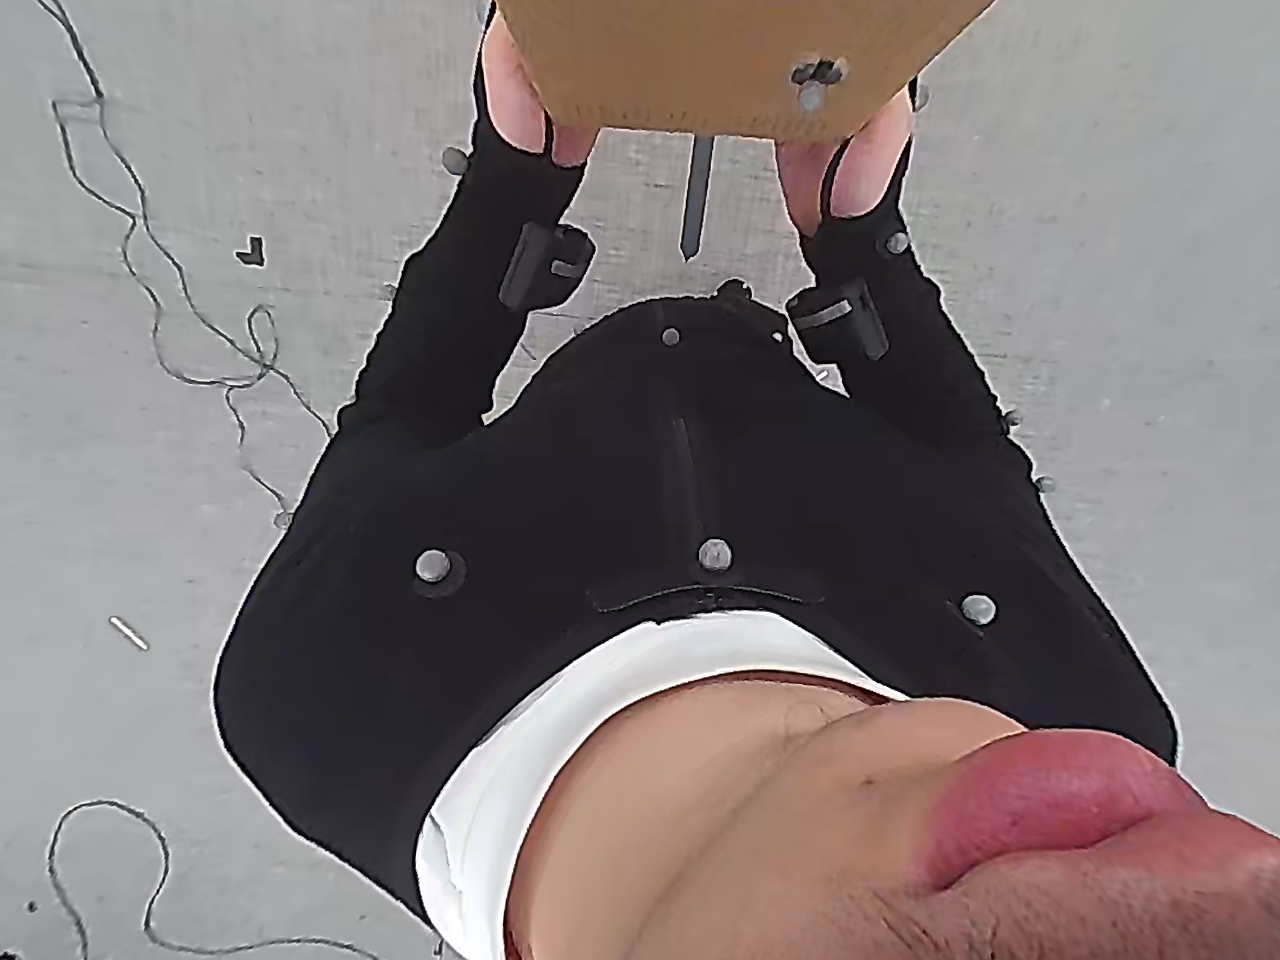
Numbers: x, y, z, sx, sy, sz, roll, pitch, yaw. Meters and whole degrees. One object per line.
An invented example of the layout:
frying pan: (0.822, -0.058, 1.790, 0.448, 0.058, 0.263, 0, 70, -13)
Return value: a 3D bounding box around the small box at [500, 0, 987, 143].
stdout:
small box: (0.039, -0.264, 0.229, 0.179, 0.176, 0.168, 4, 105, 0)
